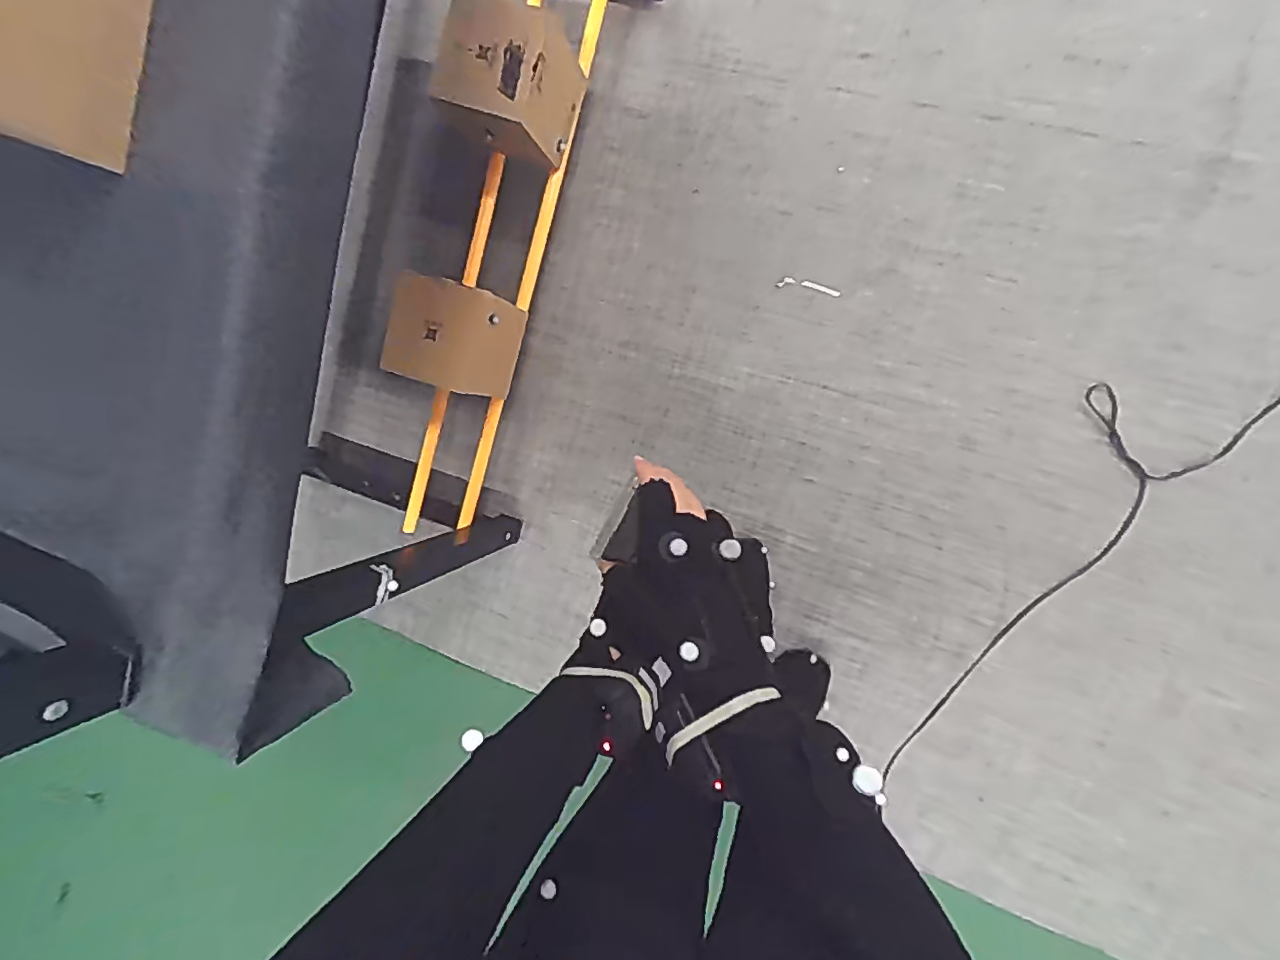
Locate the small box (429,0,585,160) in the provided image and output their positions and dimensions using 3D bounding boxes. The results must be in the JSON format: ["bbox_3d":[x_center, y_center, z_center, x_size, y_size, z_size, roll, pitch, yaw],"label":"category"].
[{"bbox_3d":[-0.213,-0.675,0.911,0.179,0.176,0.168,22,100,10],"label":"small box"}]

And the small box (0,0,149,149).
[{"bbox_3d":[-0.485,-0.363,0.363,0.168,0.176,0.179,22,100,10],"label":"small box"}]
